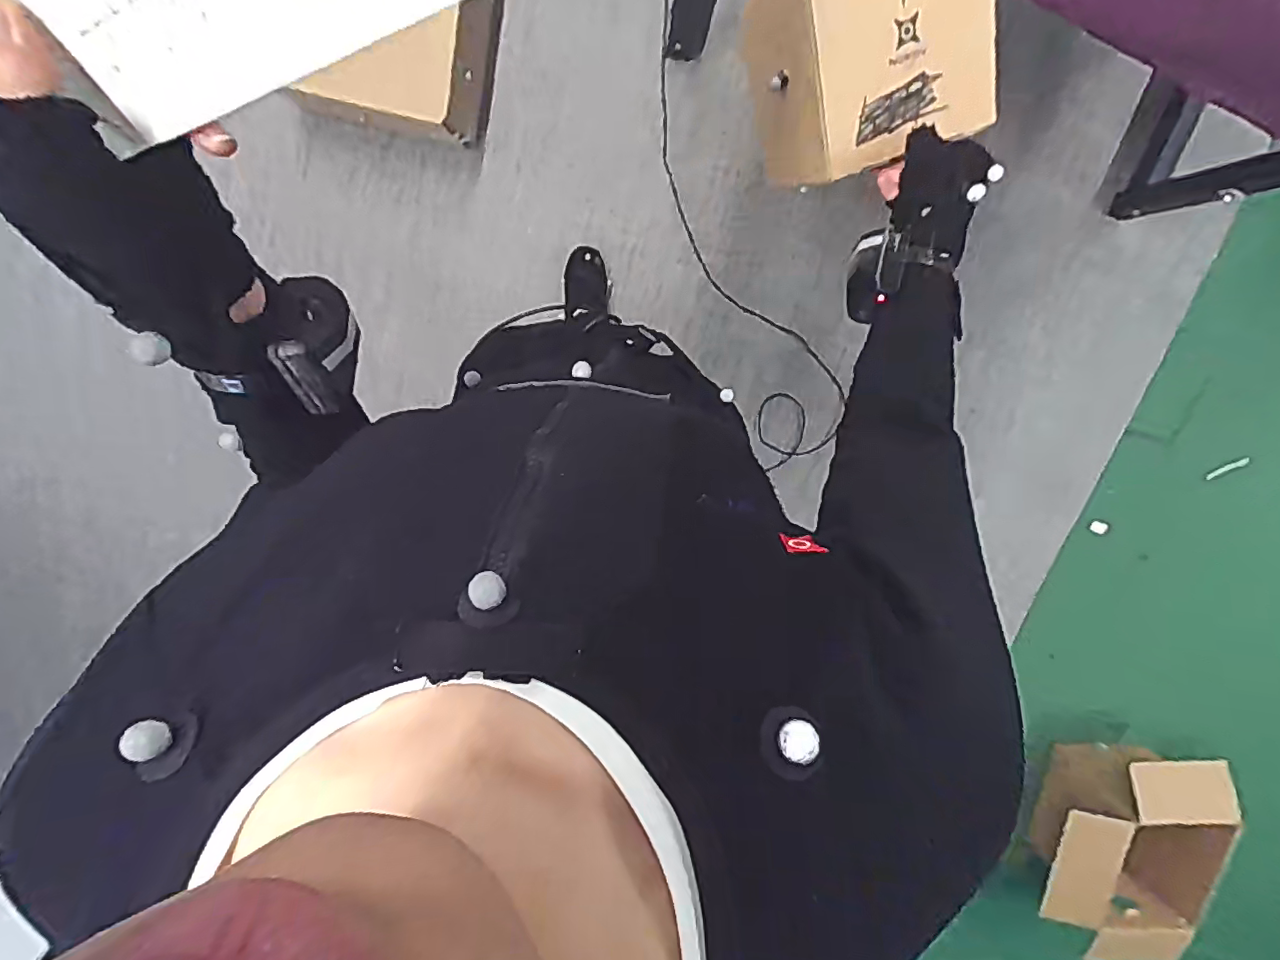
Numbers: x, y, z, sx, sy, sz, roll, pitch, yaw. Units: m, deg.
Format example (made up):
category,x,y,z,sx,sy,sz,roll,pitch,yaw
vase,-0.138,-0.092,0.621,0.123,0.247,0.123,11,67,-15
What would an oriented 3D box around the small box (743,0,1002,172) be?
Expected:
category,x,y,z,sx,sy,sz,roll,pitch,yaw
small box,0.218,-0.422,0.533,0.168,0.176,0.179,-20,117,-1
